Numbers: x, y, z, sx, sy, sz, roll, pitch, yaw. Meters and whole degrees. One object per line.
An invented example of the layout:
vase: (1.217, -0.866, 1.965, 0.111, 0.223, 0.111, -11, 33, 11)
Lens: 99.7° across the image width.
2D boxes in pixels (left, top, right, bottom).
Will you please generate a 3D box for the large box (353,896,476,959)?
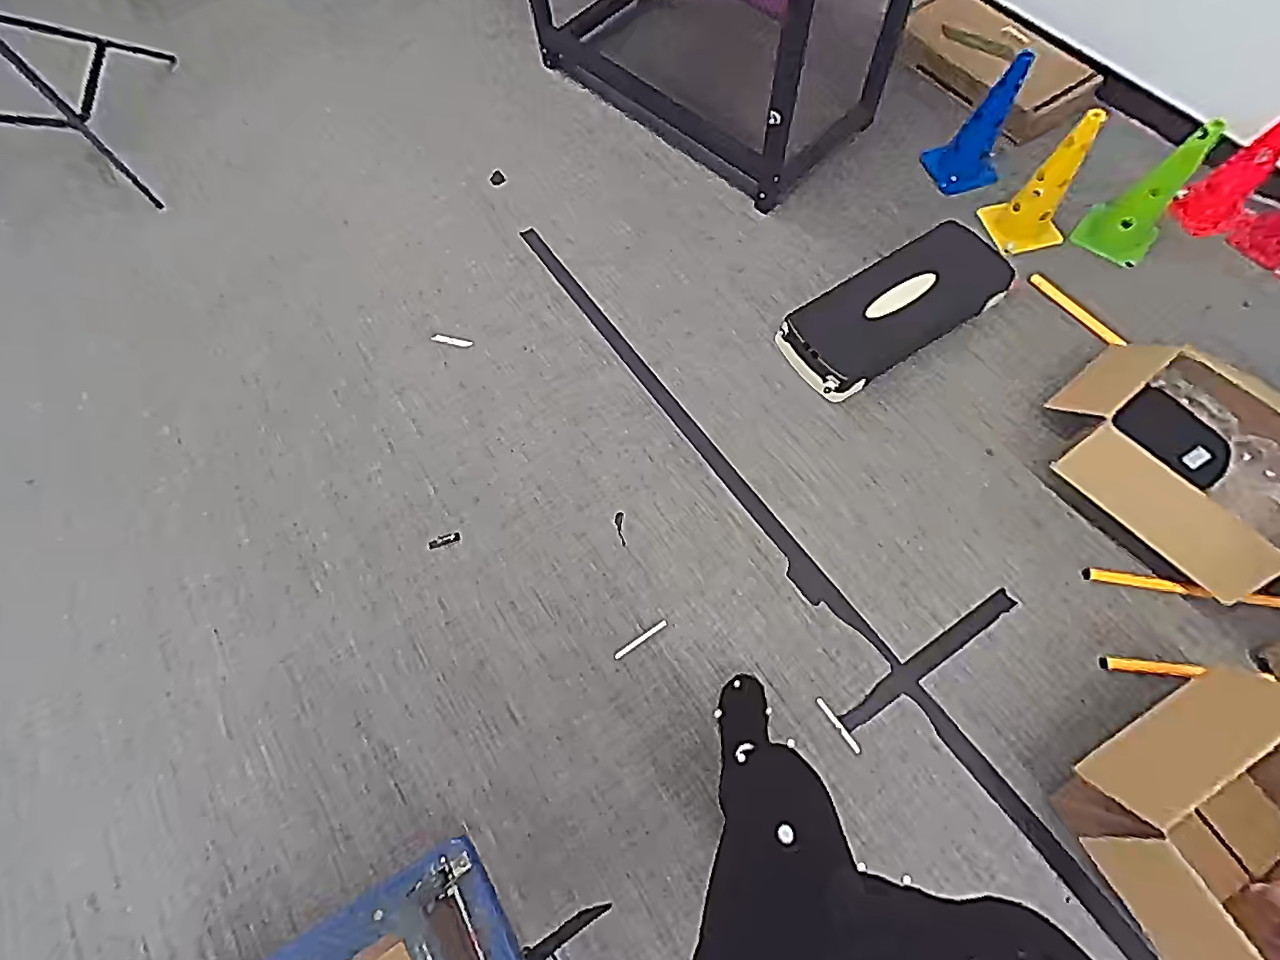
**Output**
large box: (-0.374, 0.954, 0.812, 0.320, 0.320, 0.408, -25, 68, -23)
